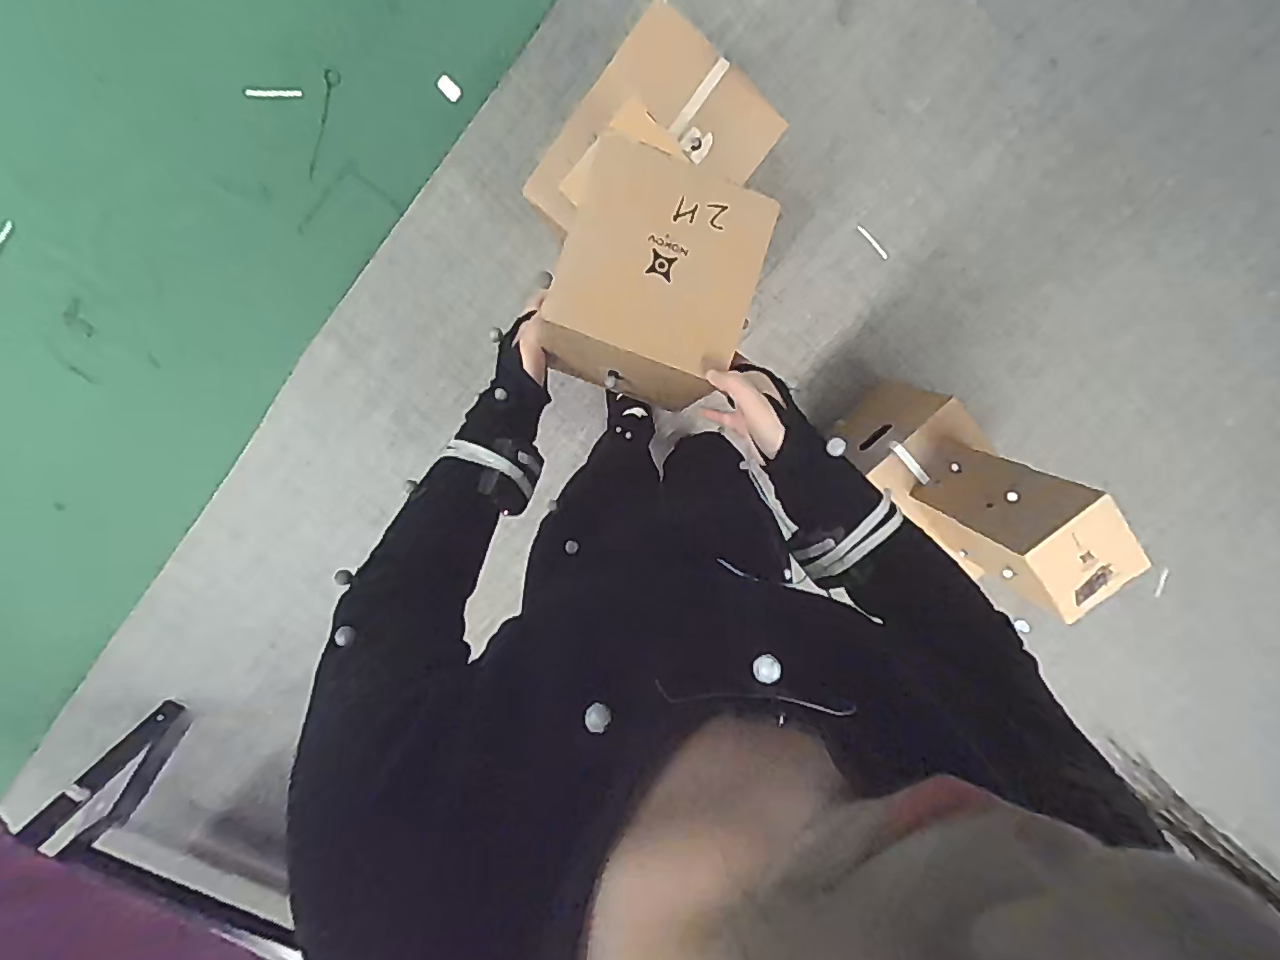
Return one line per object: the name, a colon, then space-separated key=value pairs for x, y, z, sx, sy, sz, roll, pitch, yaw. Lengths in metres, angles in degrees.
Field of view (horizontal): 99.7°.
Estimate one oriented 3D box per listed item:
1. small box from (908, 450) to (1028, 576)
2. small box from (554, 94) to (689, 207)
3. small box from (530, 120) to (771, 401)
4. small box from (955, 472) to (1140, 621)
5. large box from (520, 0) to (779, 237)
small box: x=0.707 y=0.061 z=1.128 sx=0.168 sy=0.176 sz=0.179 roll=-41 pitch=105 yaw=6
small box: x=-0.021 y=-0.486 z=0.913 sx=0.168 sy=0.176 sz=0.179 roll=41 pitch=99 yaw=-15
small box: x=0.000 y=-0.193 z=0.537 sx=0.168 sy=0.176 sz=0.179 roll=20 pitch=85 yaw=-10
small box: x=0.720 y=0.110 z=0.972 sx=0.168 sy=0.176 sz=0.179 roll=-40 pitch=105 yaw=6
large box: x=0.008 y=-0.630 z=1.128 sx=0.320 sy=0.320 sz=0.408 roll=38 pitch=100 yaw=-13
